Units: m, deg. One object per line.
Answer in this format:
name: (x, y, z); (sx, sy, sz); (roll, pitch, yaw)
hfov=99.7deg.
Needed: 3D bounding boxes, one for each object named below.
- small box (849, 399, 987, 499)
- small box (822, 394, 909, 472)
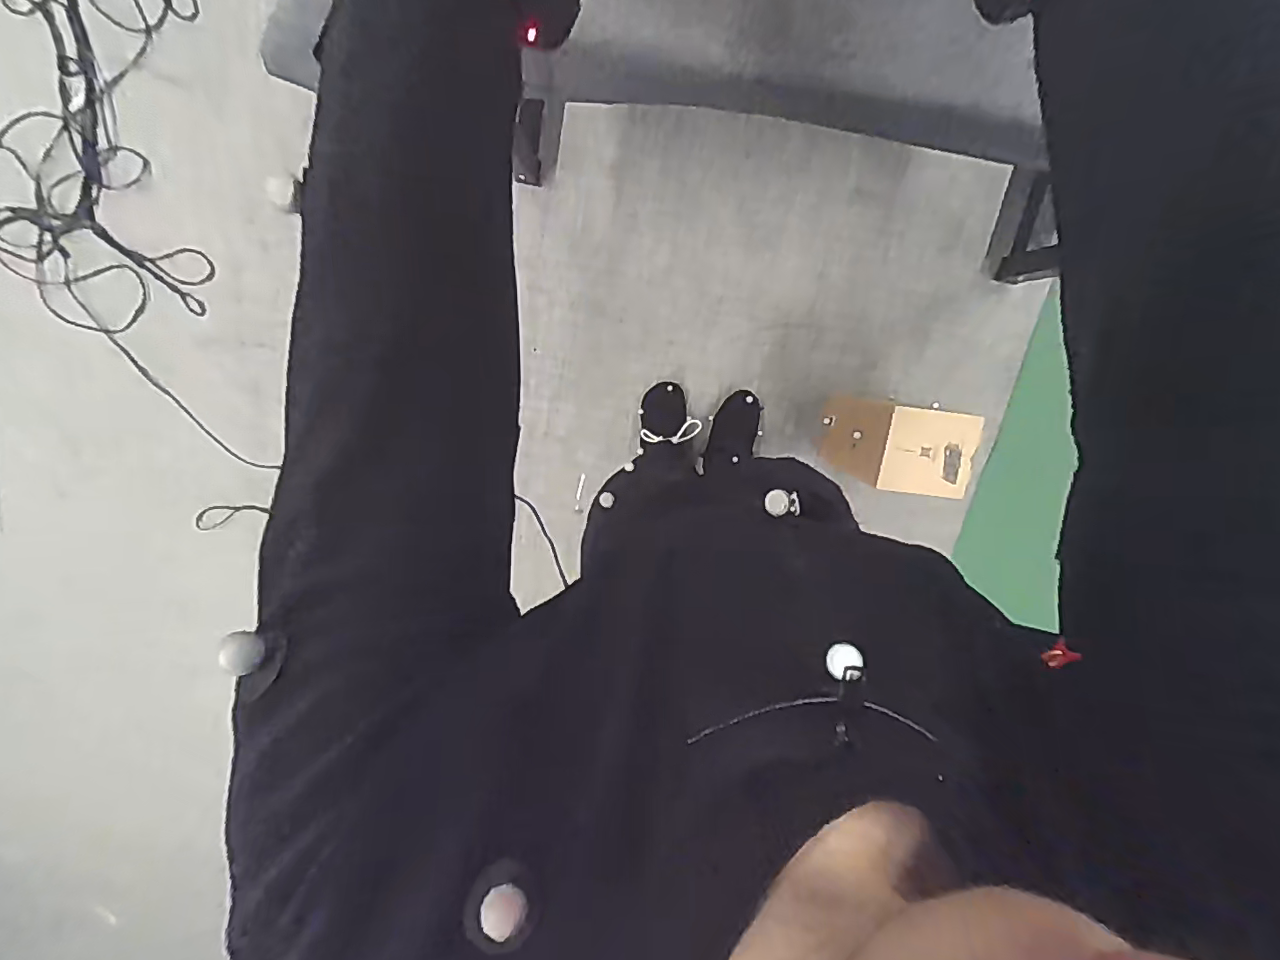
small box: (0.553, -0.070, 1.098); (0.179, 0.176, 0.168); (7, 103, 0)
small box: (0.547, -0.107, 1.258); (0.179, 0.176, 0.168); (7, 103, -1)
